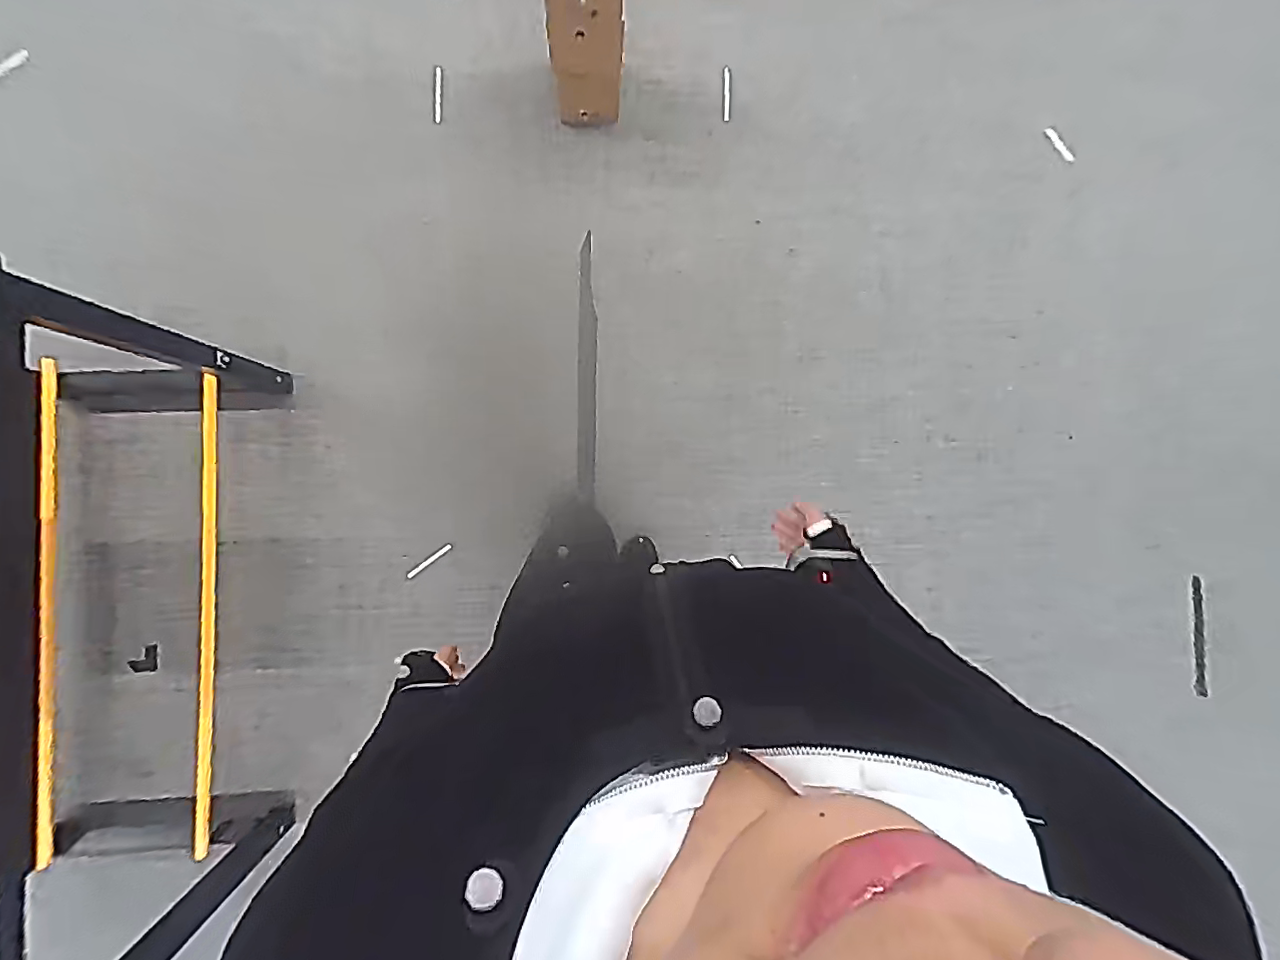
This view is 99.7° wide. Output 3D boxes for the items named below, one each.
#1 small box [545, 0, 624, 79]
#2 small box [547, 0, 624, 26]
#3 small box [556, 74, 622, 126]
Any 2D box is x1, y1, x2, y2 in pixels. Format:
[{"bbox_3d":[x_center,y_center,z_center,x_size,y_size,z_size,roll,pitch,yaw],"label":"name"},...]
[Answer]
[{"bbox_3d":[-0.126,-1.077,1.260,0.179,0.176,0.168,-1,89,-4],"label":"small box"},{"bbox_3d":[-0.110,-1.083,1.096,0.168,0.176,0.179,2,89,-4],"label":"small box"},{"bbox_3d":[-0.139,-1.074,1.424,0.168,0.176,0.179,-5,91,-4],"label":"small box"}]
